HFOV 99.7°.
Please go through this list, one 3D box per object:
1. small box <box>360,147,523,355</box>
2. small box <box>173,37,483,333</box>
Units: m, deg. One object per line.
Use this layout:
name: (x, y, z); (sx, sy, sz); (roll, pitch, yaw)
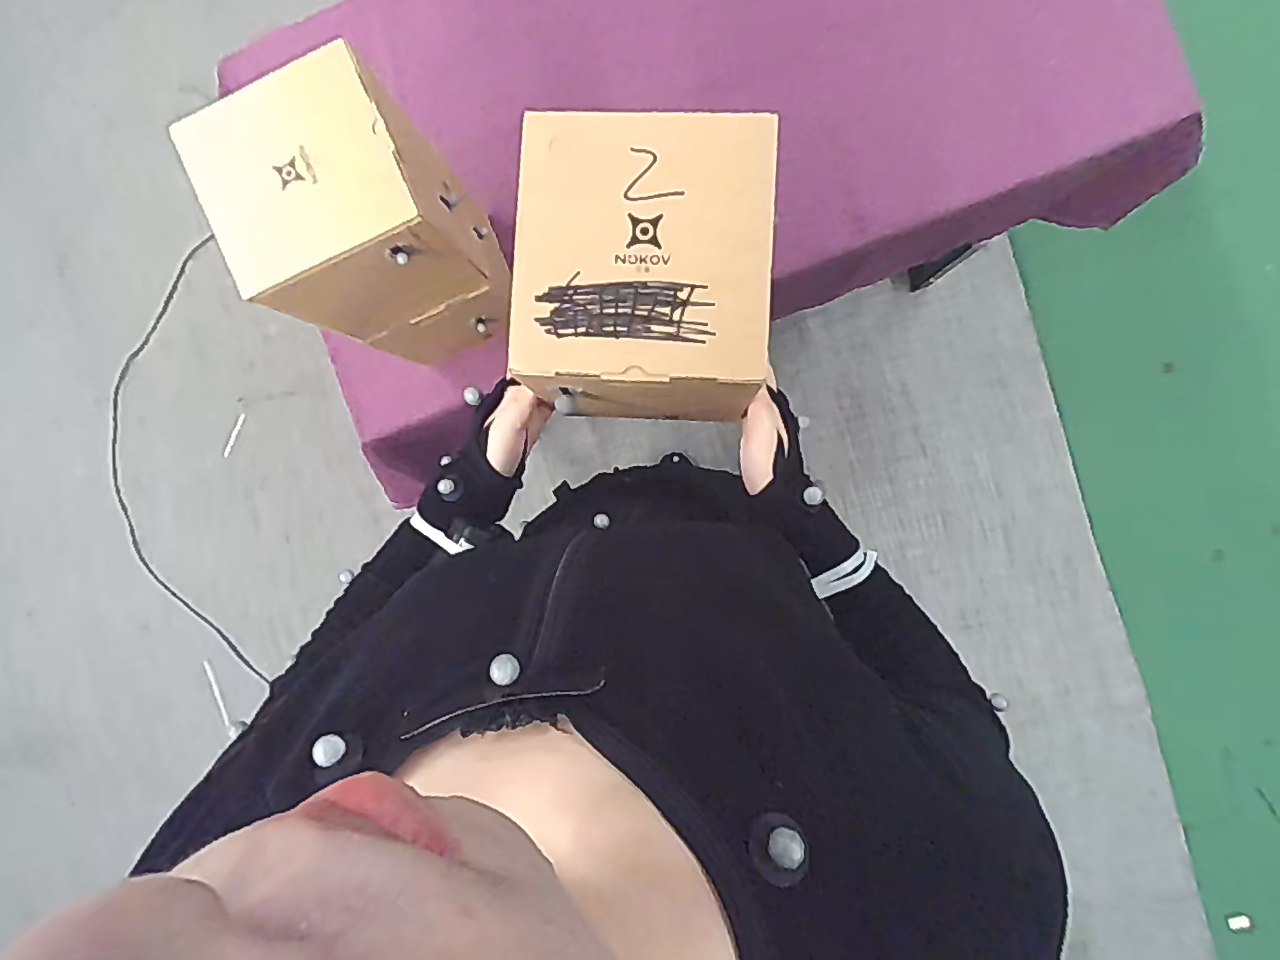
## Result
small box: (-0.272, -0.275, 0.700); (0.168, 0.176, 0.179); (-21, 90, 4)
small box: (-0.288, -0.267, 0.539); (0.179, 0.176, 0.168); (-23, 91, 3)
